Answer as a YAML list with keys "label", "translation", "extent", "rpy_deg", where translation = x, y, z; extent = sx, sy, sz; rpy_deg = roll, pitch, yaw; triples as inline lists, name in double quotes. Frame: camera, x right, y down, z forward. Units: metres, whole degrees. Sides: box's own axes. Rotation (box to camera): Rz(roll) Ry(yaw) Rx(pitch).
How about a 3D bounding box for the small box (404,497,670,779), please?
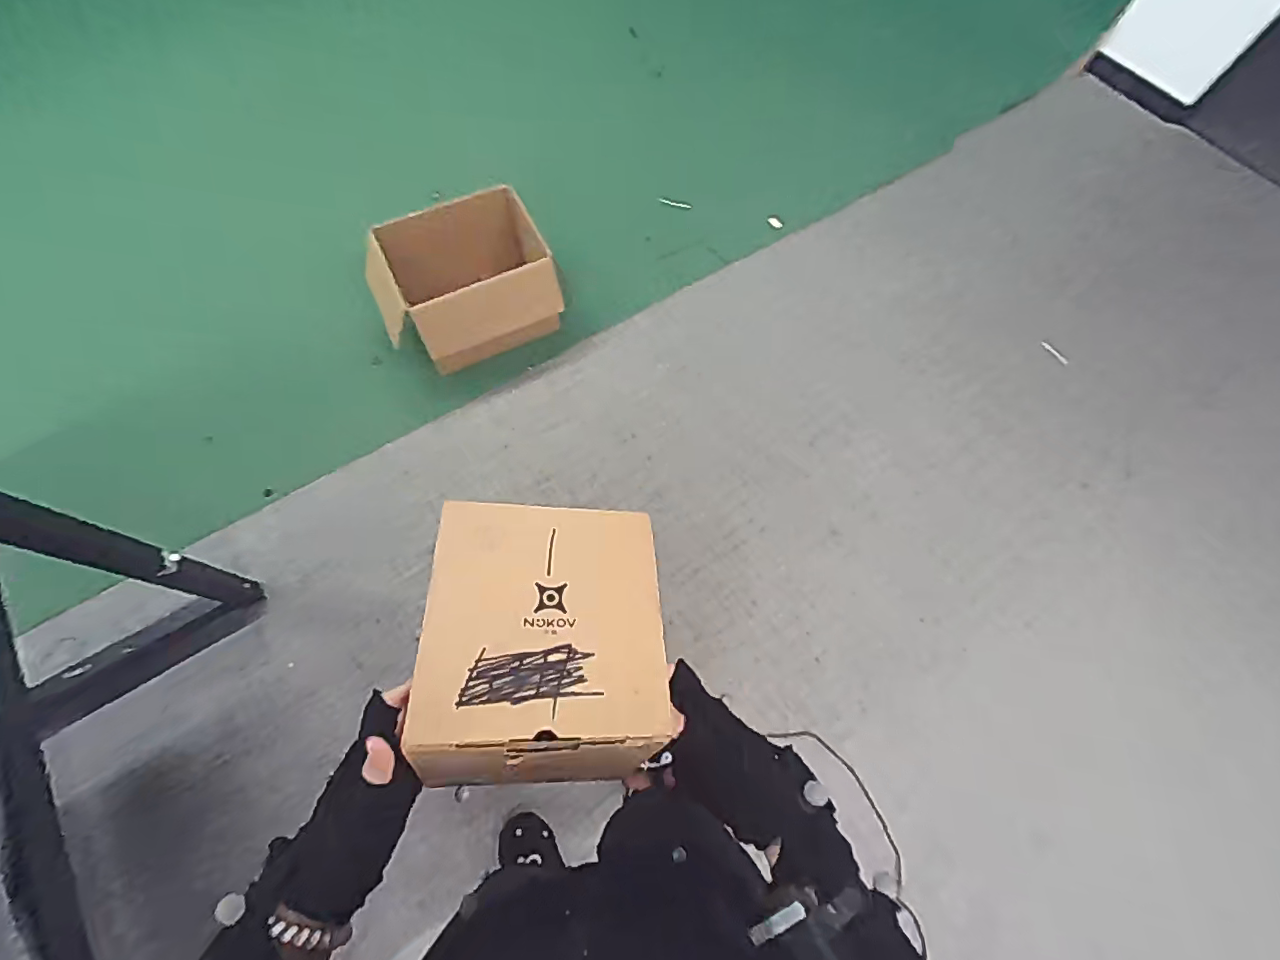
- label: "small box"
  translation: [-0.081, 0.137, 0.442]
  extent: [0.168, 0.176, 0.179]
  rpy_deg: [5, 51, -13]
